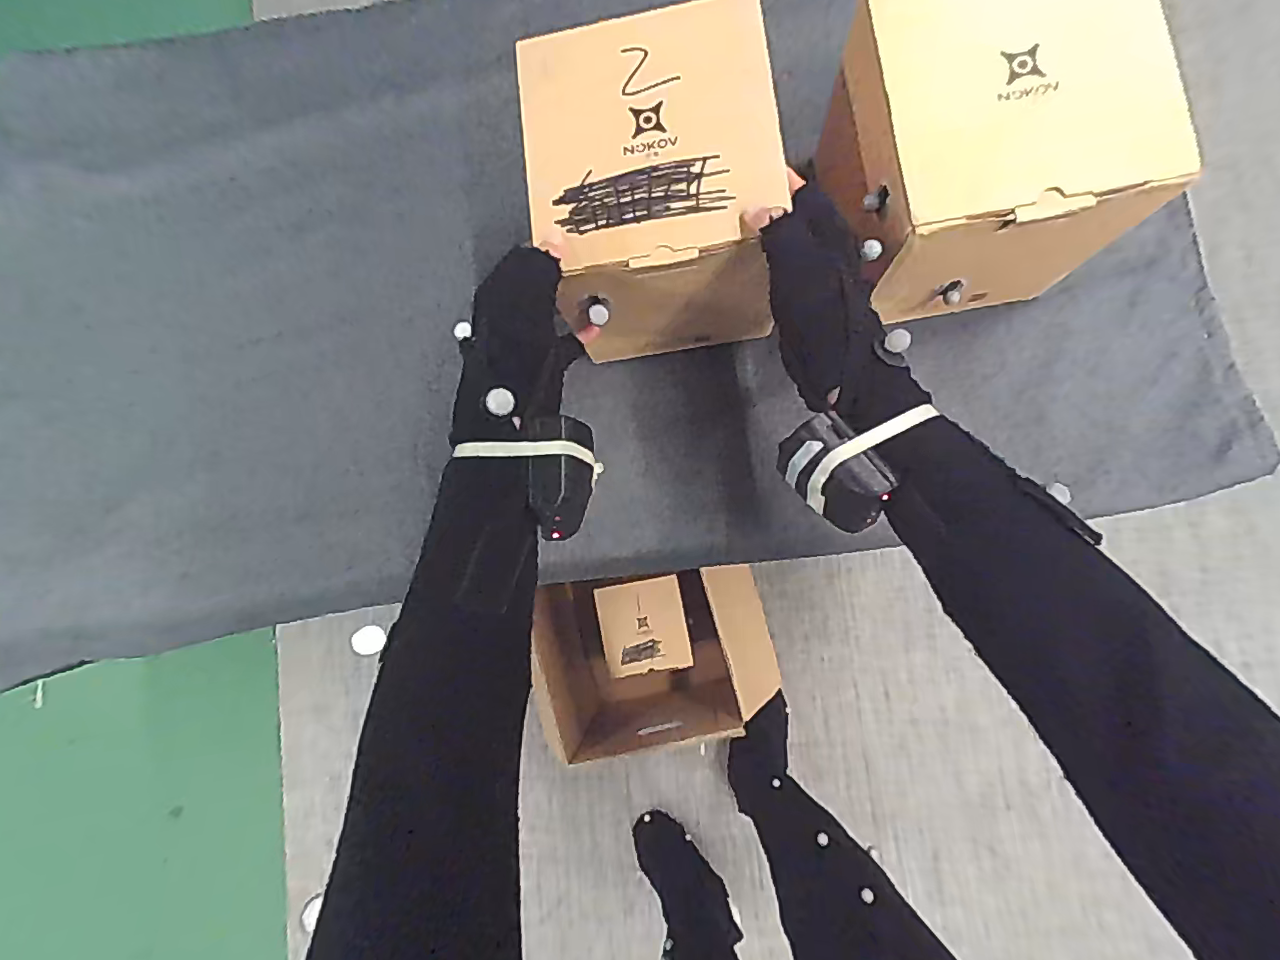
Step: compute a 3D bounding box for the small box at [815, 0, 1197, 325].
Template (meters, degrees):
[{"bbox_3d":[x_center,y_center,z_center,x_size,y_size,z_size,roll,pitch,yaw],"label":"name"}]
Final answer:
[{"bbox_3d":[0.243,-0.242,0.412,0.168,0.176,0.179,-10,85,6],"label":"small box"}]
